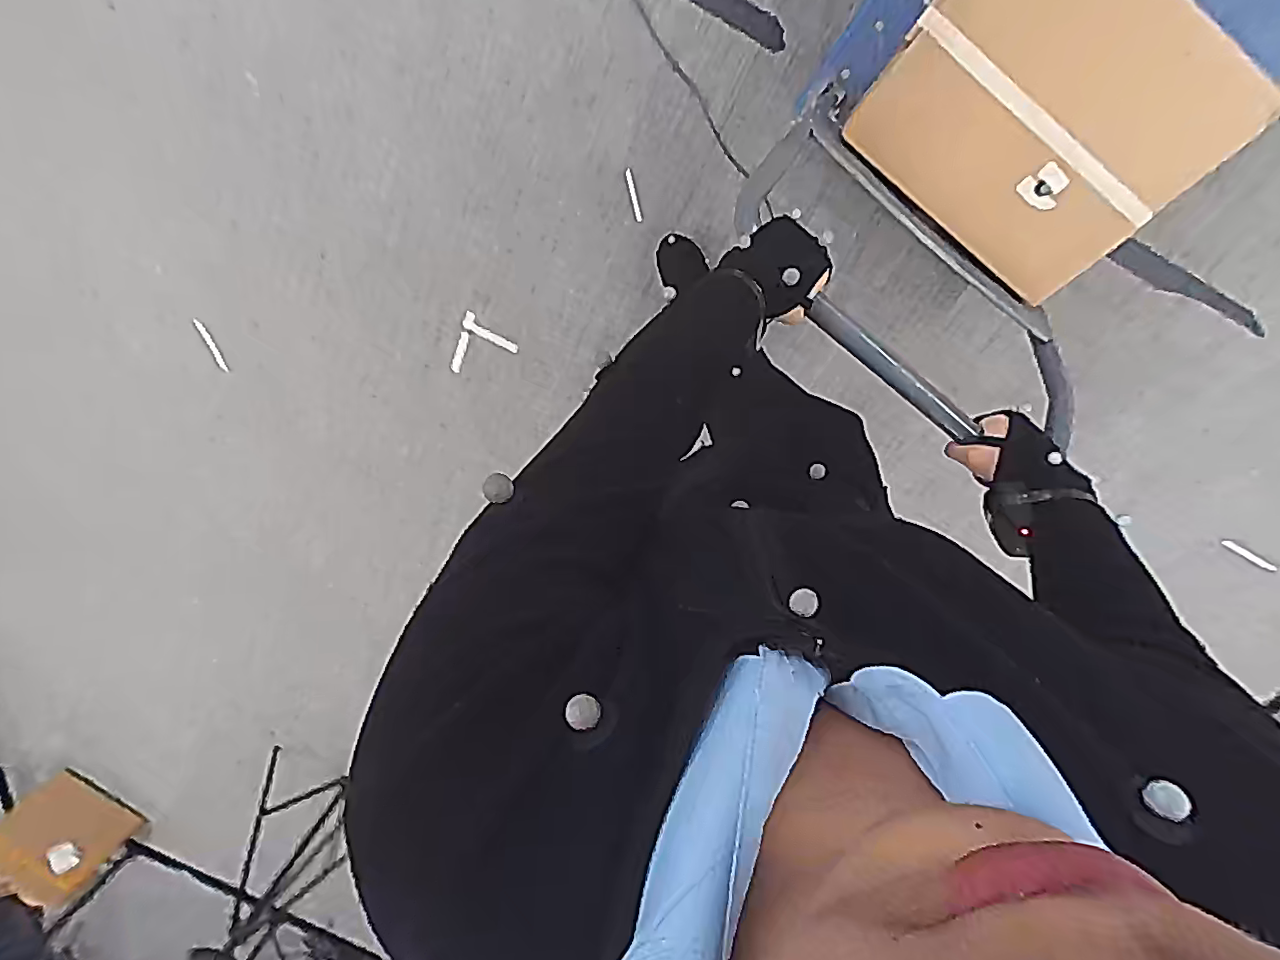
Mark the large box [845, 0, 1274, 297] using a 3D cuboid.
[{"bbox_3d":[0.582,-0.573,0.841,0.408,0.320,0.320,37,133,-8],"label":"large box"}]
